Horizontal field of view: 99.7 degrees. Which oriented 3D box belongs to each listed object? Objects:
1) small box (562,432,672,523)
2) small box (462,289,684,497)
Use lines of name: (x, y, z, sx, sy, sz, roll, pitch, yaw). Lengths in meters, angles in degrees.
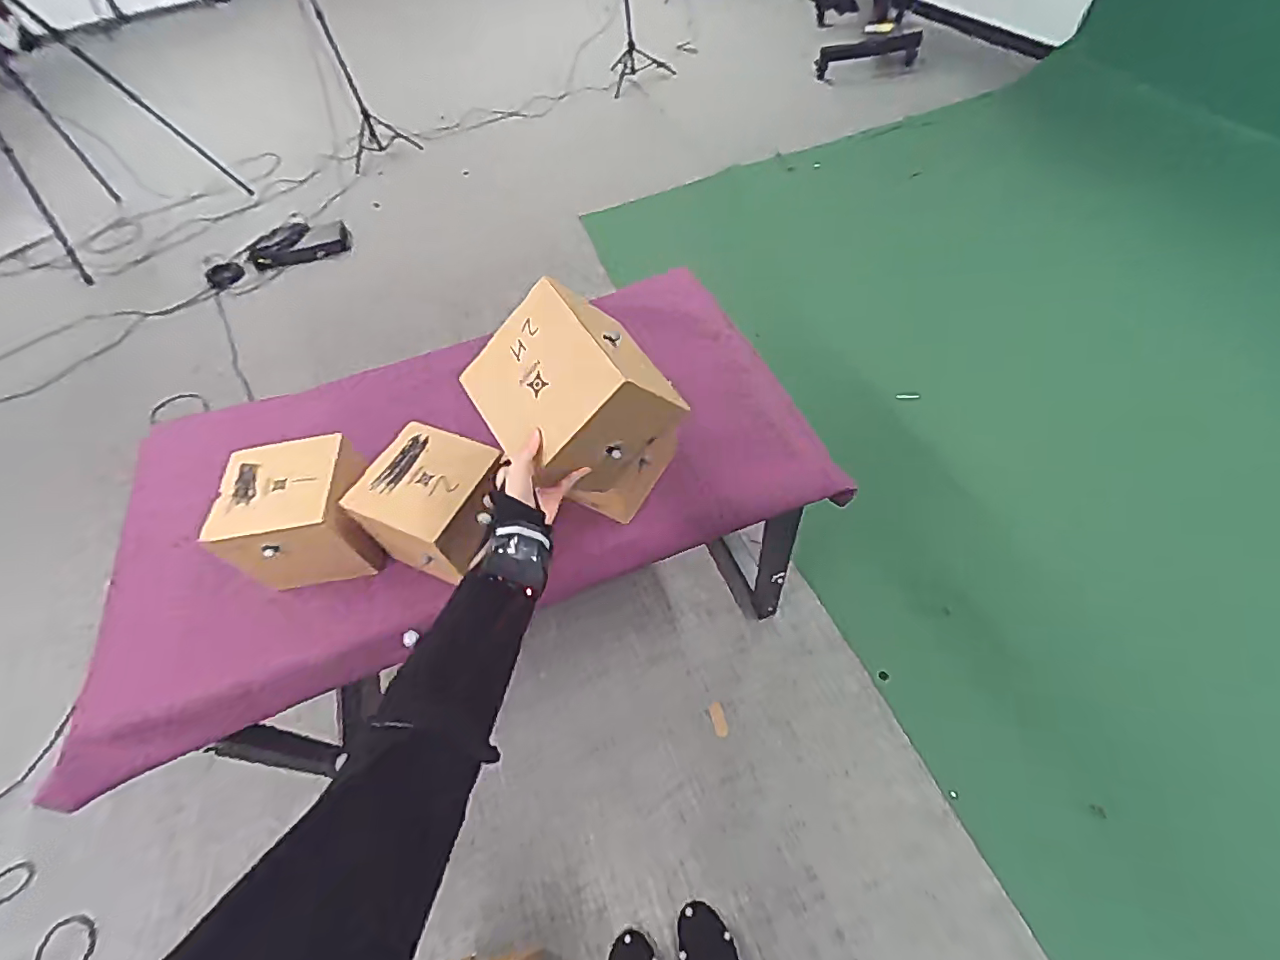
small box: (-0.056, -0.058, 0.880, 0.168, 0.176, 0.179, 23, 61, 21)
small box: (-0.077, -0.095, 0.666, 0.168, 0.176, 0.179, -45, 66, 20)
